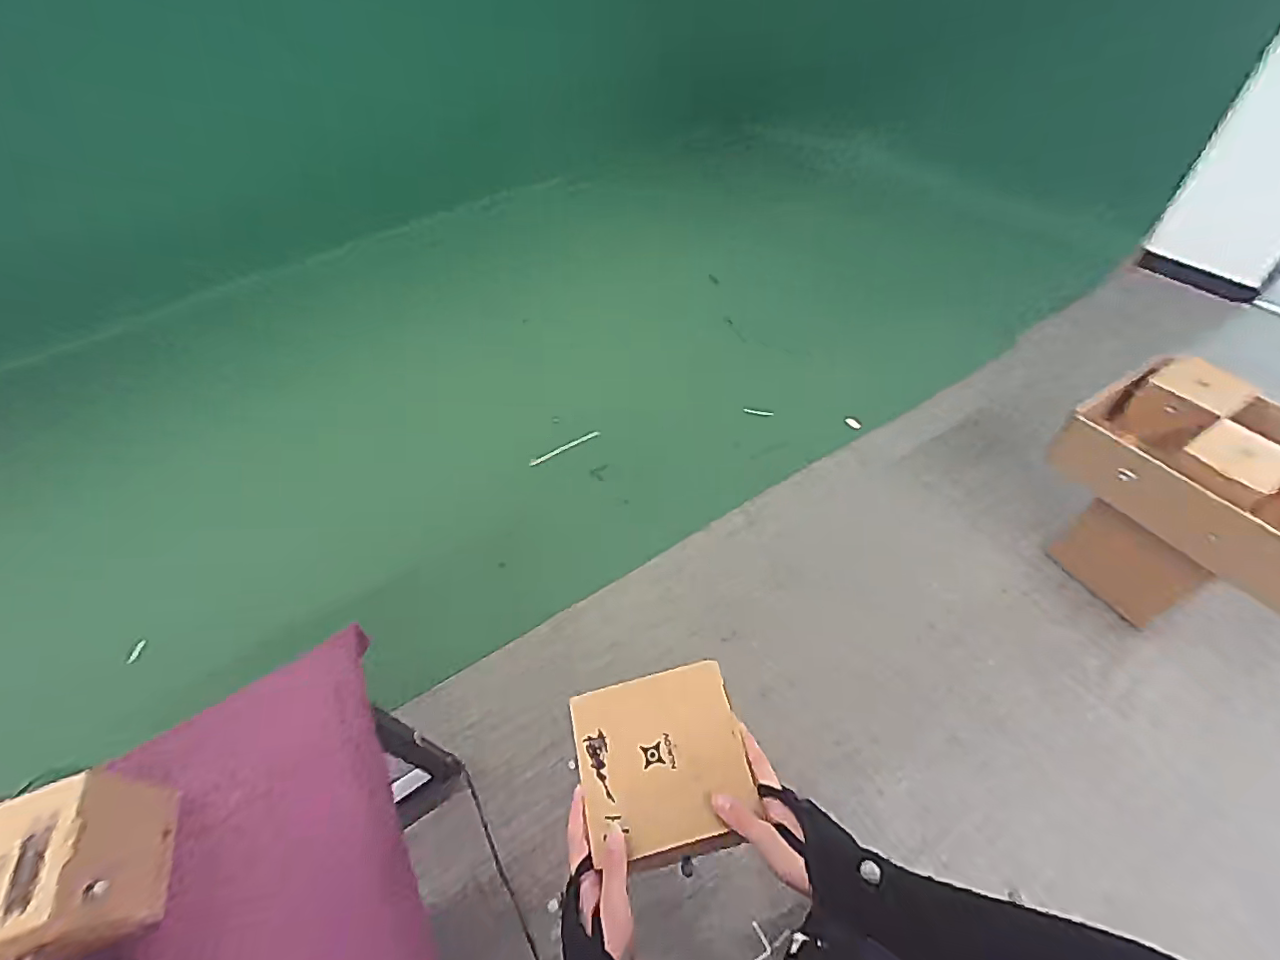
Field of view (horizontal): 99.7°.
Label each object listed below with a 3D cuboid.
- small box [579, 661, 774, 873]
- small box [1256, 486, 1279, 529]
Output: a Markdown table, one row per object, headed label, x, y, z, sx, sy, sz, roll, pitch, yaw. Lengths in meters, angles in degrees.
| label | x | y | z | sx | sy | sz | roll | pitch | yaw |
| --- | --- | --- | --- | --- | --- | --- | --- | --- | --- |
| small box | 0.035 | 0.334 | 0.626 | 0.179 | 0.176 | 0.168 | -12 | 50 | -4 |
| small box | 1.571 | 0.038 | 1.210 | 0.179 | 0.176 | 0.168 | -27 | 53 | -14 |
